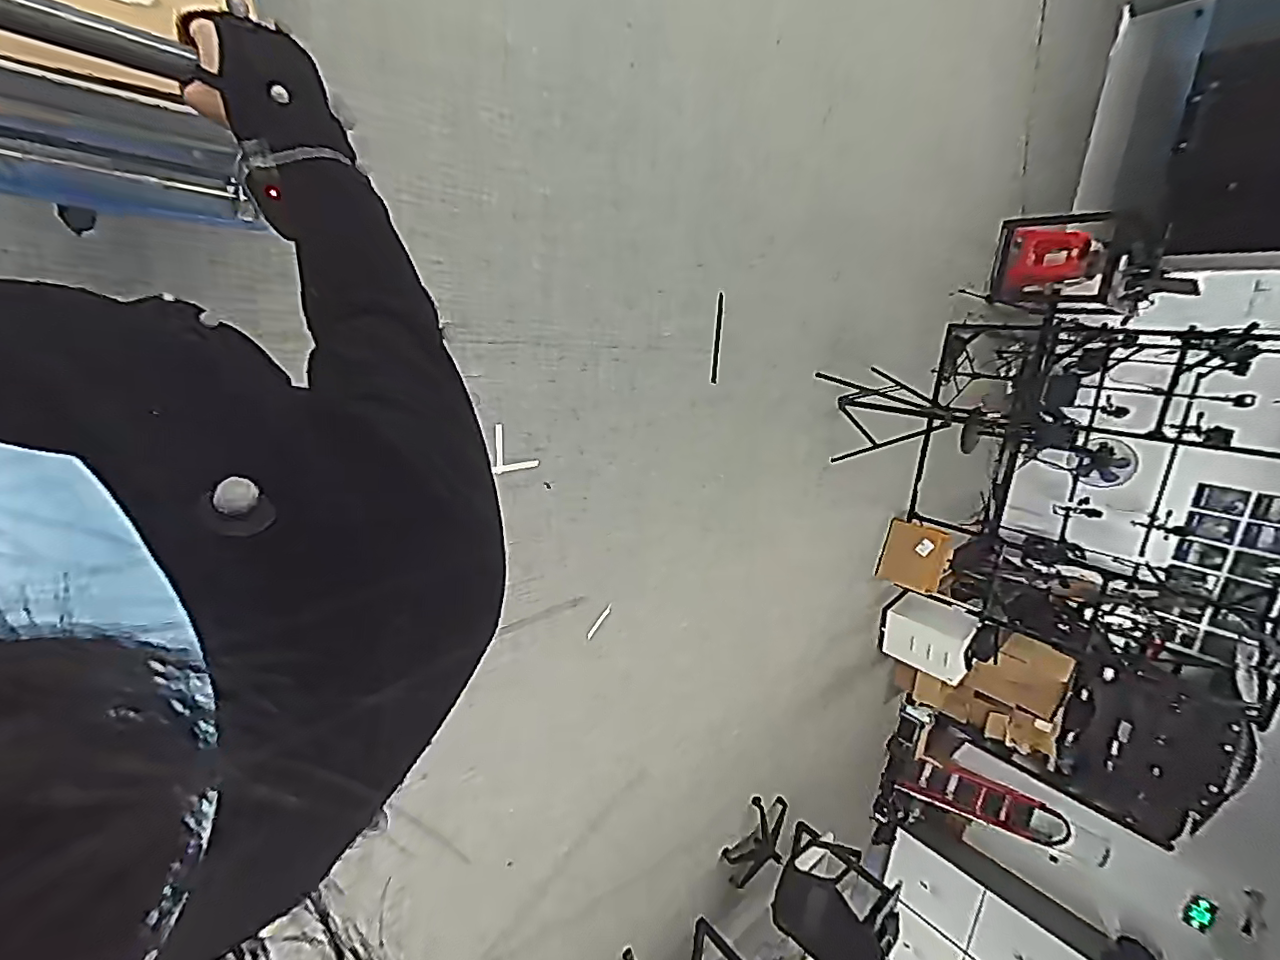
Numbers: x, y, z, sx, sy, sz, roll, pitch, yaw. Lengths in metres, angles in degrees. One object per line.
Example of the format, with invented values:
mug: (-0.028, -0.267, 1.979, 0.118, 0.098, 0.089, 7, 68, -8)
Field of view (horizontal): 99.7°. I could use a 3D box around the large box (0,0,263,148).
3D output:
large box: (-0.788, -0.674, 0.706, 0.408, 0.320, 0.320, -14, 114, -42)
